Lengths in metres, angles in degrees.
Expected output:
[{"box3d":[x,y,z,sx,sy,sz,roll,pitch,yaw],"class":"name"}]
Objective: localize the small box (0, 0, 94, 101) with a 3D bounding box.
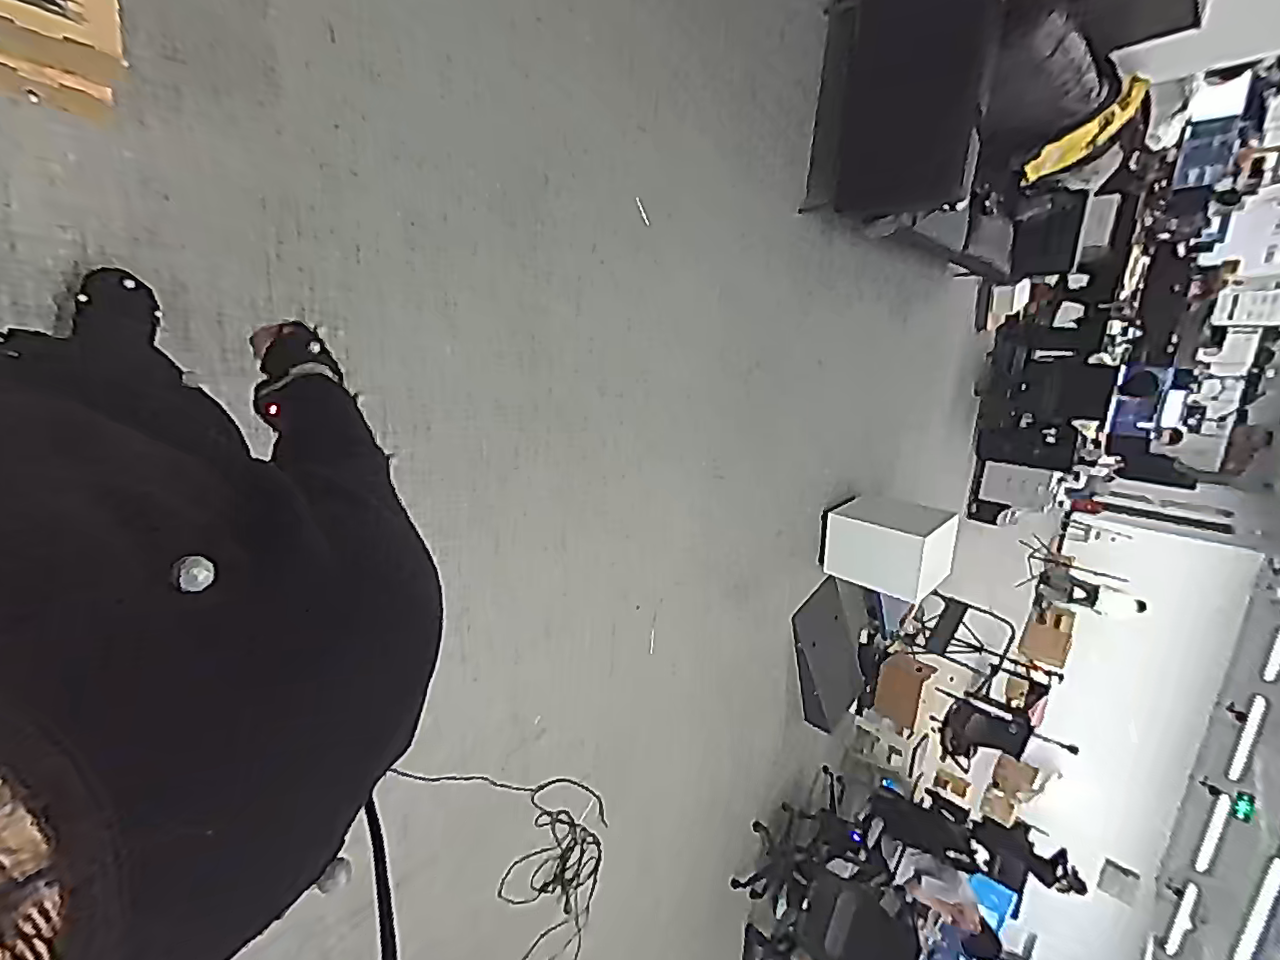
[{"box3d":[-0.985,-0.747,0.854,0.168,0.176,0.179,0,103,-46],"class":"small box"}]
